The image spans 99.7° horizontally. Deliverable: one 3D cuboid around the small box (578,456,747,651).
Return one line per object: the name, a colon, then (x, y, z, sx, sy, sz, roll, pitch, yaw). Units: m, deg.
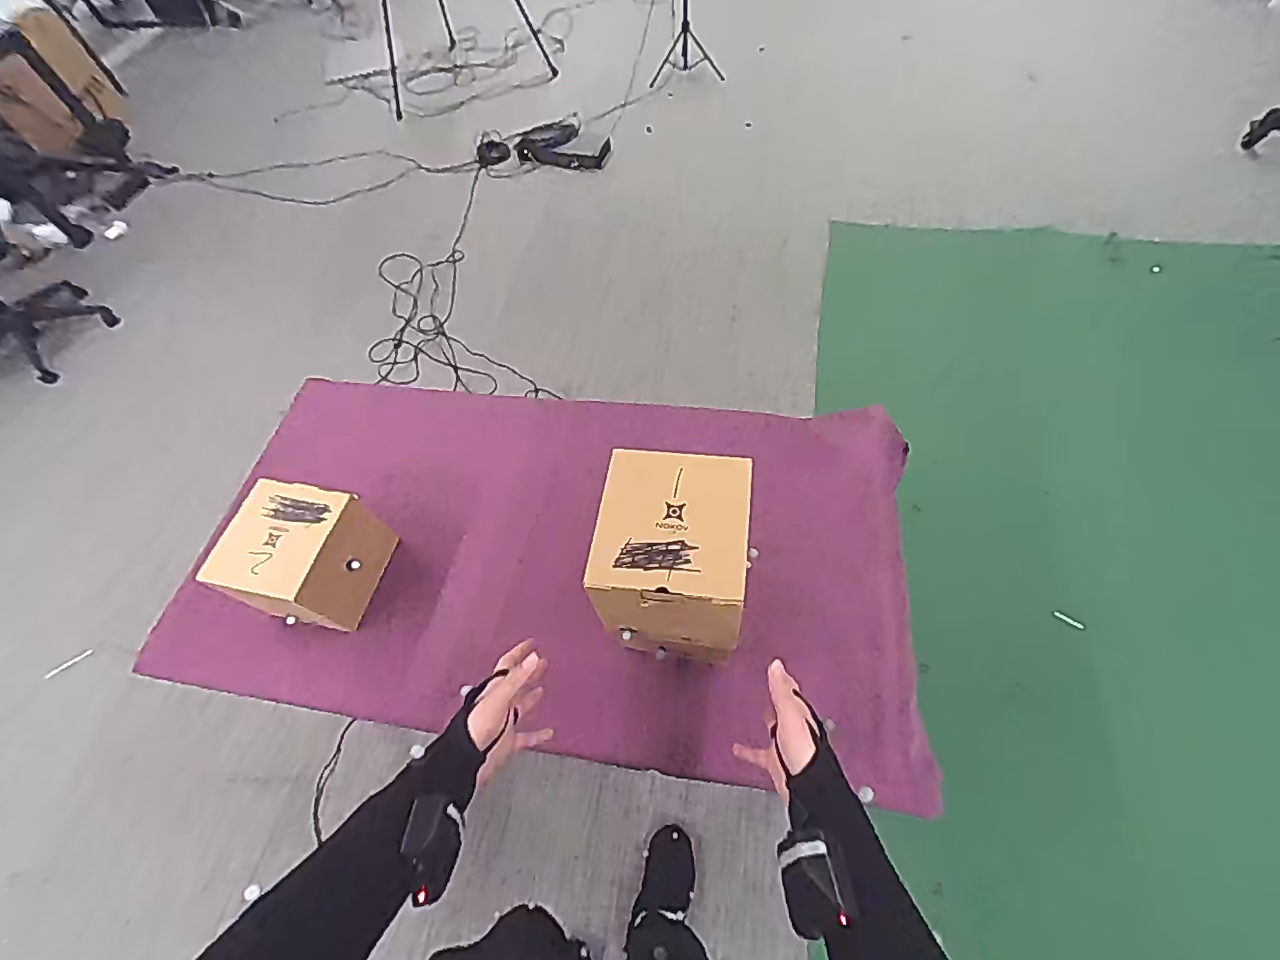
small box: (0.037, 0.093, 0.653, 0.168, 0.176, 0.179, 5, 57, 10)

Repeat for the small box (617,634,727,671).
small box: (0.056, 0.164, 0.802, 0.168, 0.176, 0.179, 7, 59, 11)
